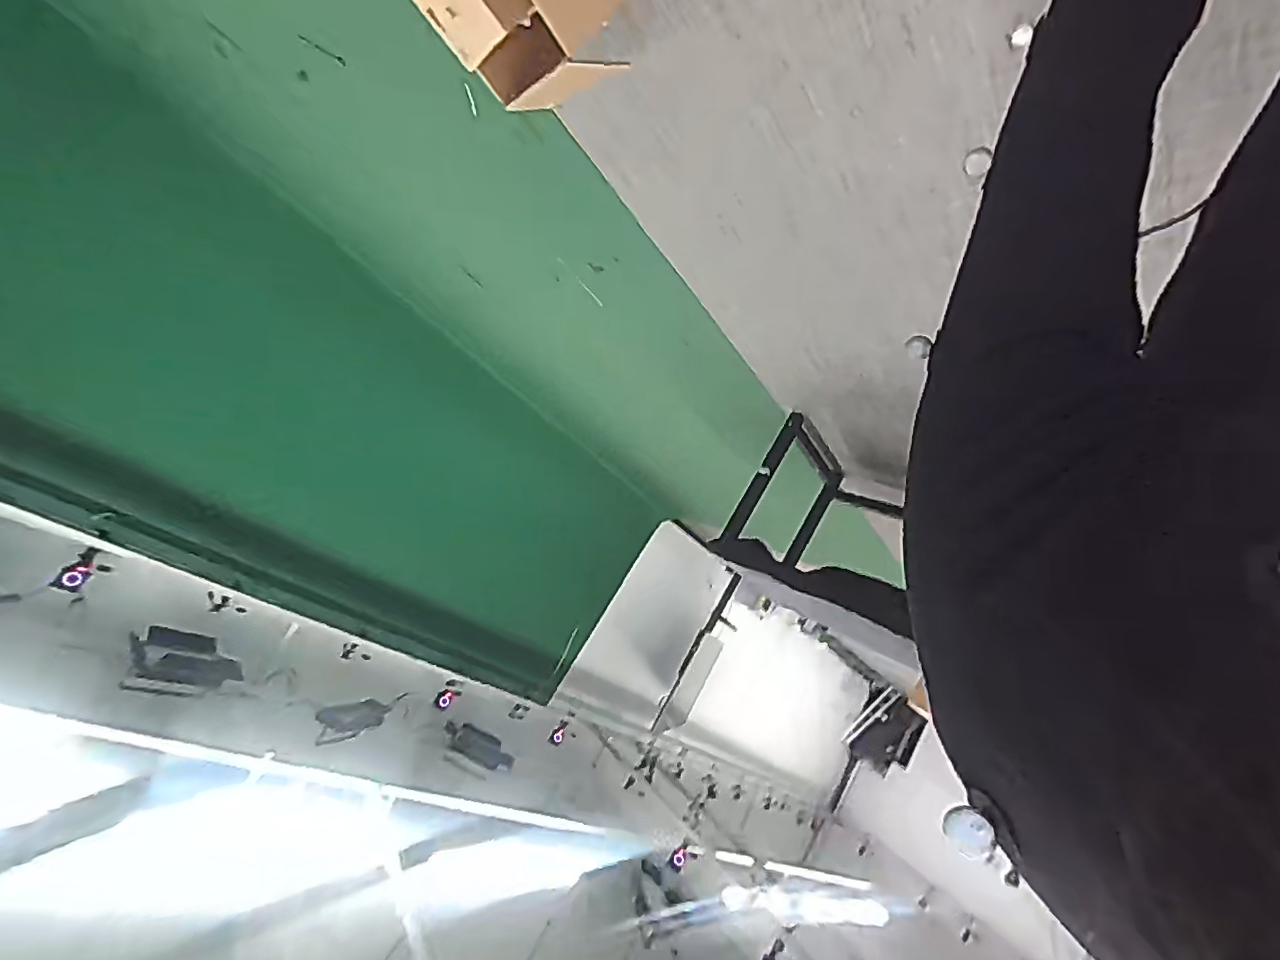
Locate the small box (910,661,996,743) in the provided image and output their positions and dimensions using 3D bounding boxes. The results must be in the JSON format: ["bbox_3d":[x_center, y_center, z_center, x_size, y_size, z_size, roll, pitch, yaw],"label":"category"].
[{"bbox_3d":[1.015,0.712,1.750,0.179,0.176,0.168,39,168,-35],"label":"small box"}]
